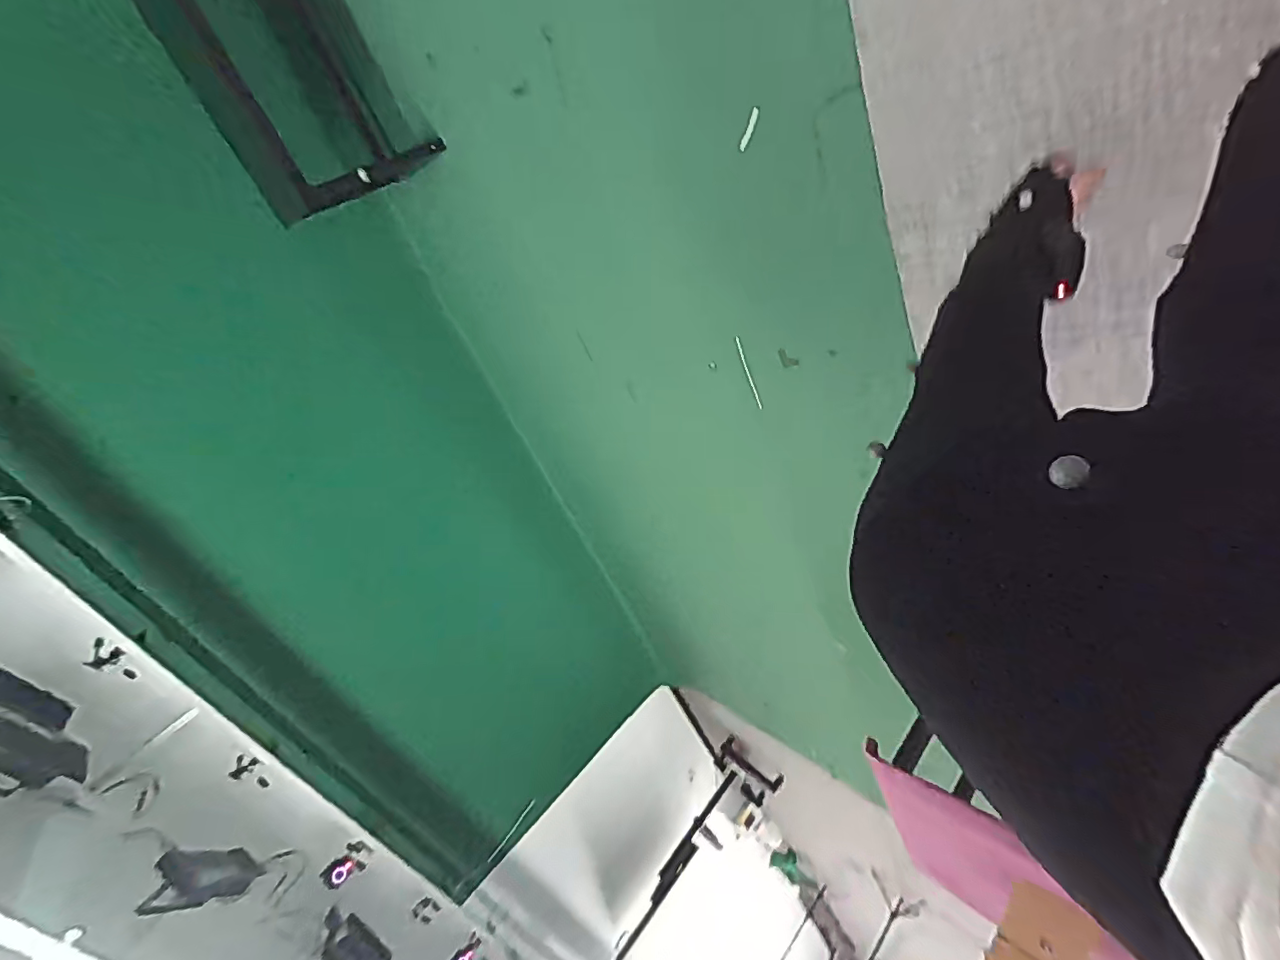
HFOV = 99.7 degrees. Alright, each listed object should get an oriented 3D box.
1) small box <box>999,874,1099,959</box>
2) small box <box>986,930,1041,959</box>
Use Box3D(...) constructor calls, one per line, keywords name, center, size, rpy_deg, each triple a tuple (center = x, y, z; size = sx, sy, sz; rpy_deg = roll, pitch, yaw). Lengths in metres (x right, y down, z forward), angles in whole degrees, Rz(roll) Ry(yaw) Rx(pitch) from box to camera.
Box3D(name="small box", center=(1.082, 1.207, 1.435), size=(0.179, 0.176, 0.168), rpy_deg=(19, 141, 47))
Box3D(name="small box", center=(0.971, 1.300, 1.361), size=(0.179, 0.176, 0.168), rpy_deg=(18, 139, 47))
